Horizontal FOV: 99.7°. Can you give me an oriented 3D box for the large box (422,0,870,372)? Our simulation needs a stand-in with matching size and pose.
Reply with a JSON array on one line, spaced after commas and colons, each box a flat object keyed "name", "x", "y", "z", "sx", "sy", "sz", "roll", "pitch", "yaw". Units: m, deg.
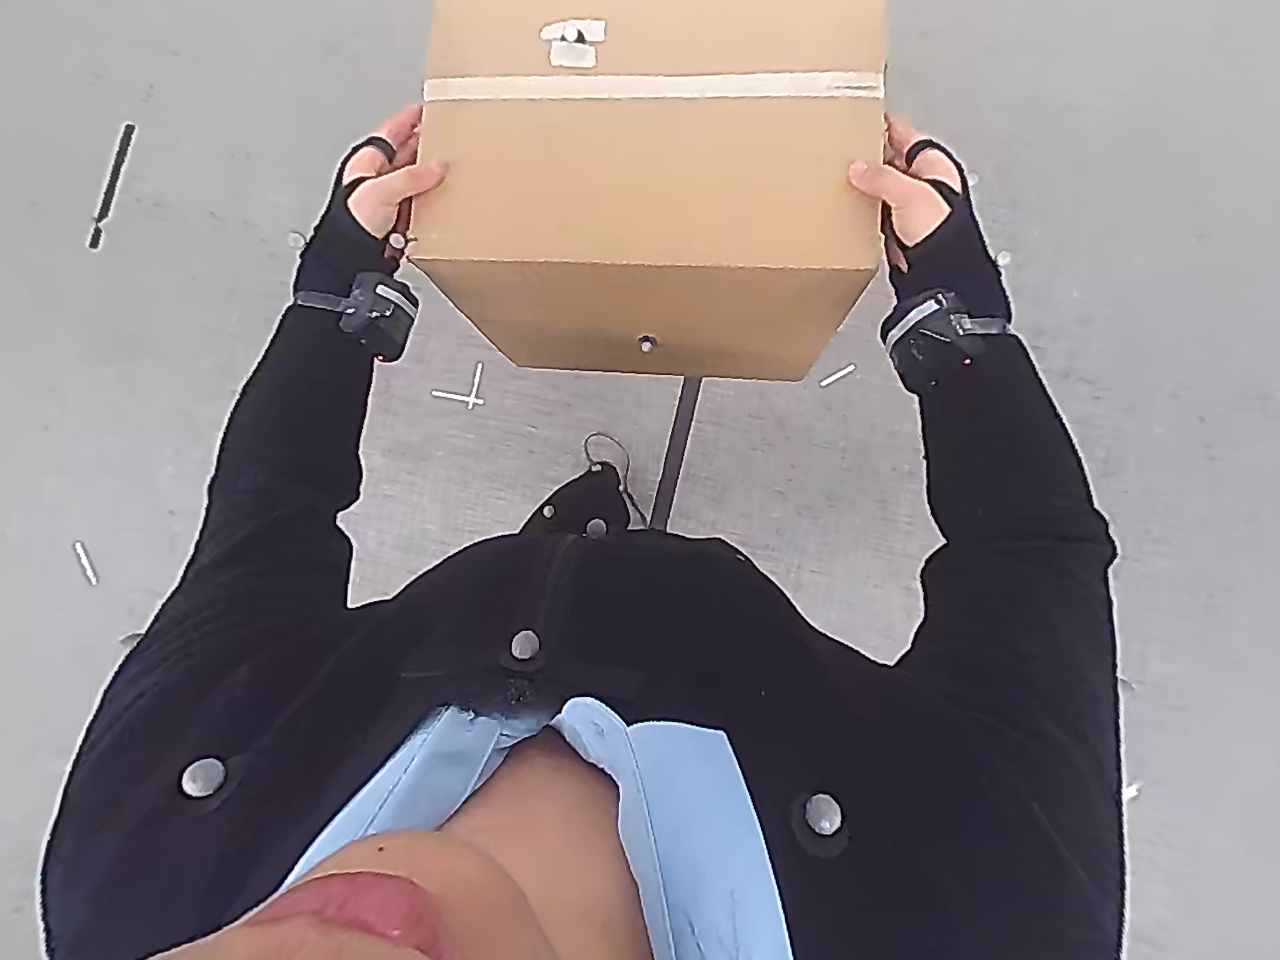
[{"name": "large box", "x": 0.019, "y": -0.321, "z": 0.637, "sx": 0.408, "sy": 0.320, "sz": 0.320, "roll": 3, "pitch": 83, "yaw": 6}]
